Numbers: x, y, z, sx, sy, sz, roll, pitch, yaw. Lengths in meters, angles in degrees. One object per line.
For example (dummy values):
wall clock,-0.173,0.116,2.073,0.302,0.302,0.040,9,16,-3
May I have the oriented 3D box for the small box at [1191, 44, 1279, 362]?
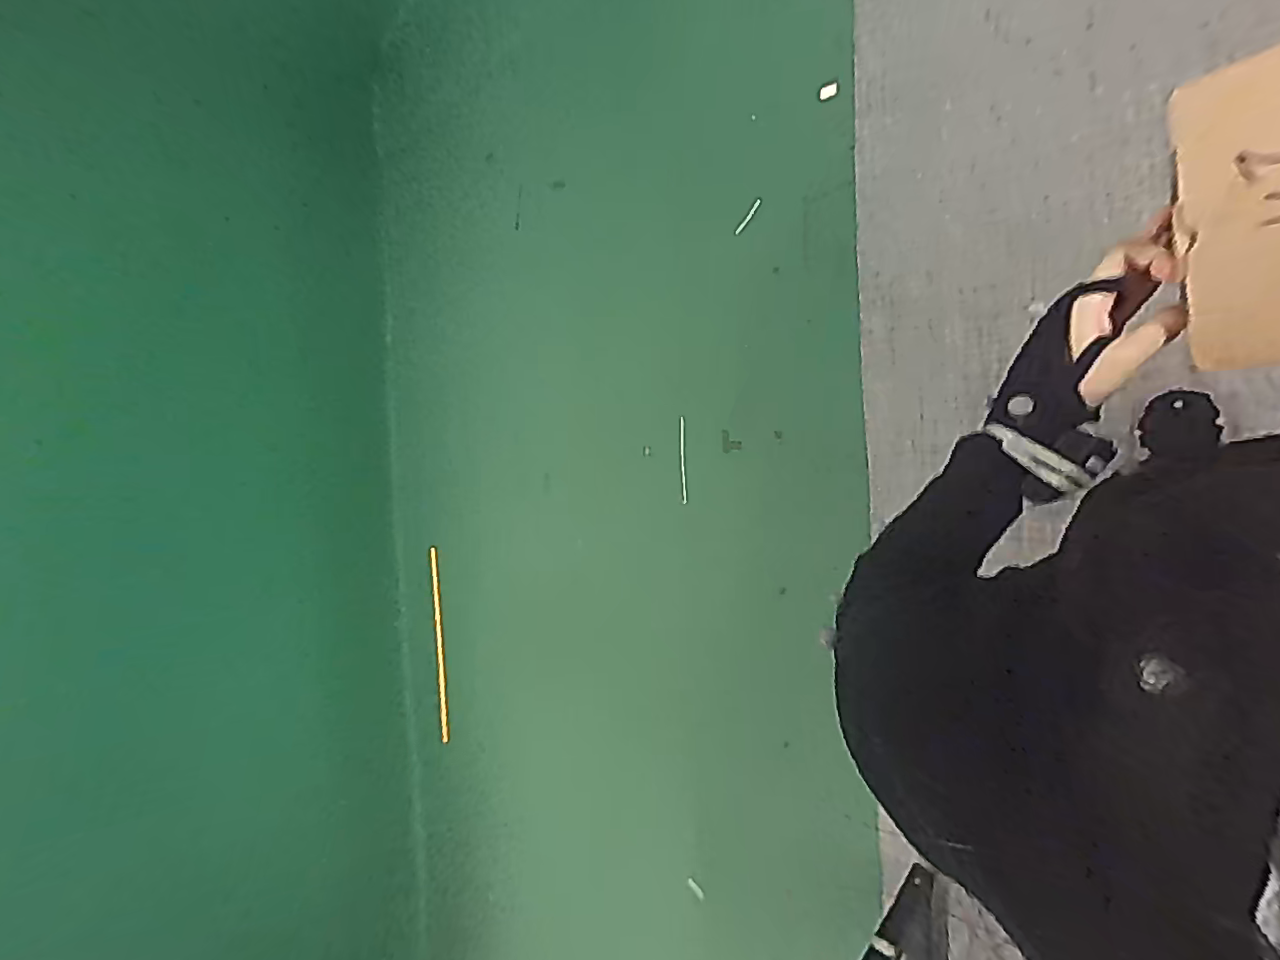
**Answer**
small box,0.440,-0.184,0.305,0.179,0.176,0.168,-3,113,47
